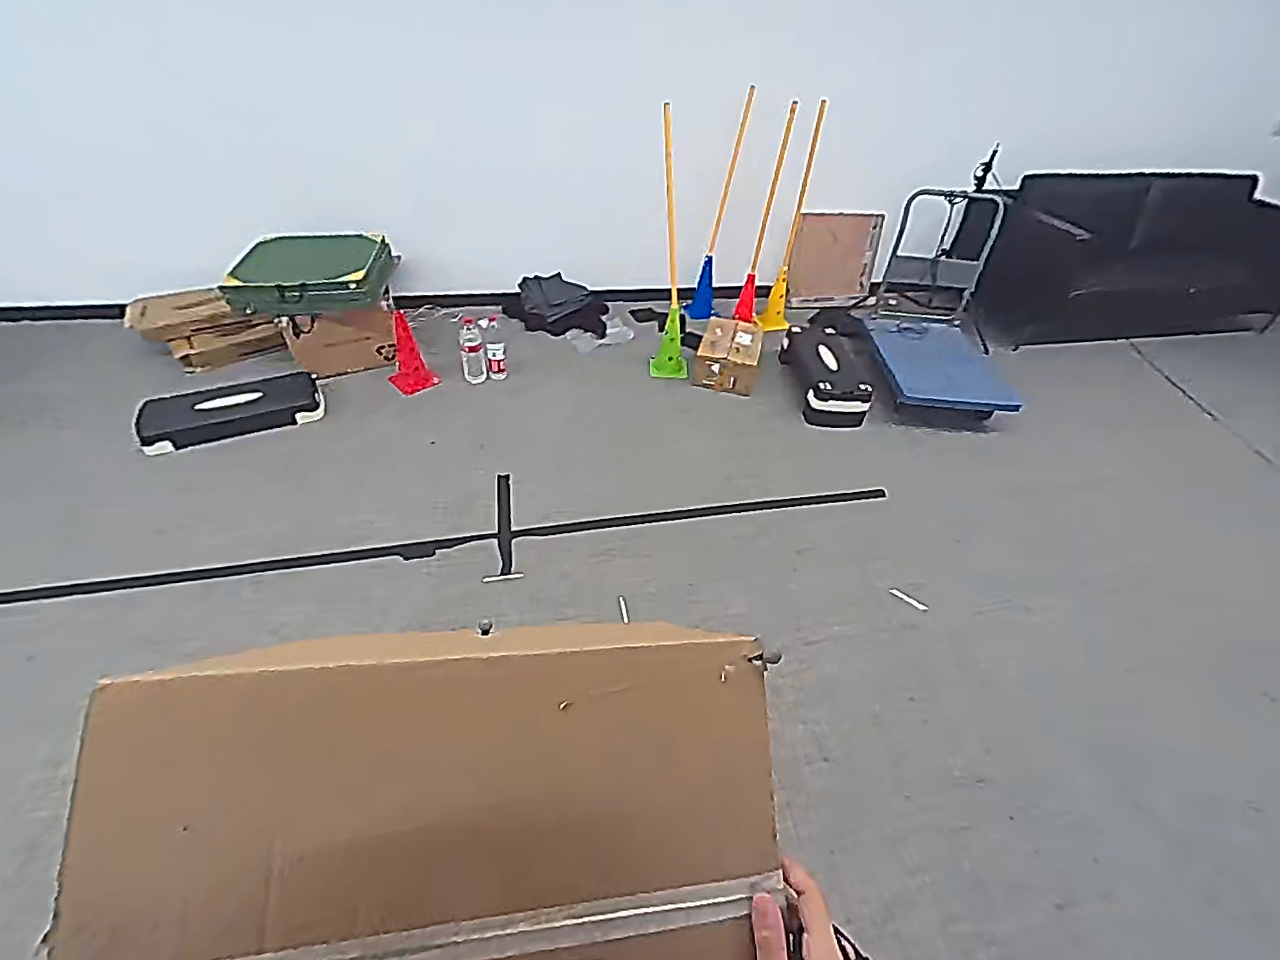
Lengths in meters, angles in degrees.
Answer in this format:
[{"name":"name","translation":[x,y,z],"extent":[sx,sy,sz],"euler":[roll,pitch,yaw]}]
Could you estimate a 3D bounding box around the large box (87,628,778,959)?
[{"name":"large box","translation":[-0.135,0.305,0.469],"extent":[0.408,0.320,0.320],"euler":[0,79,-12]}]
